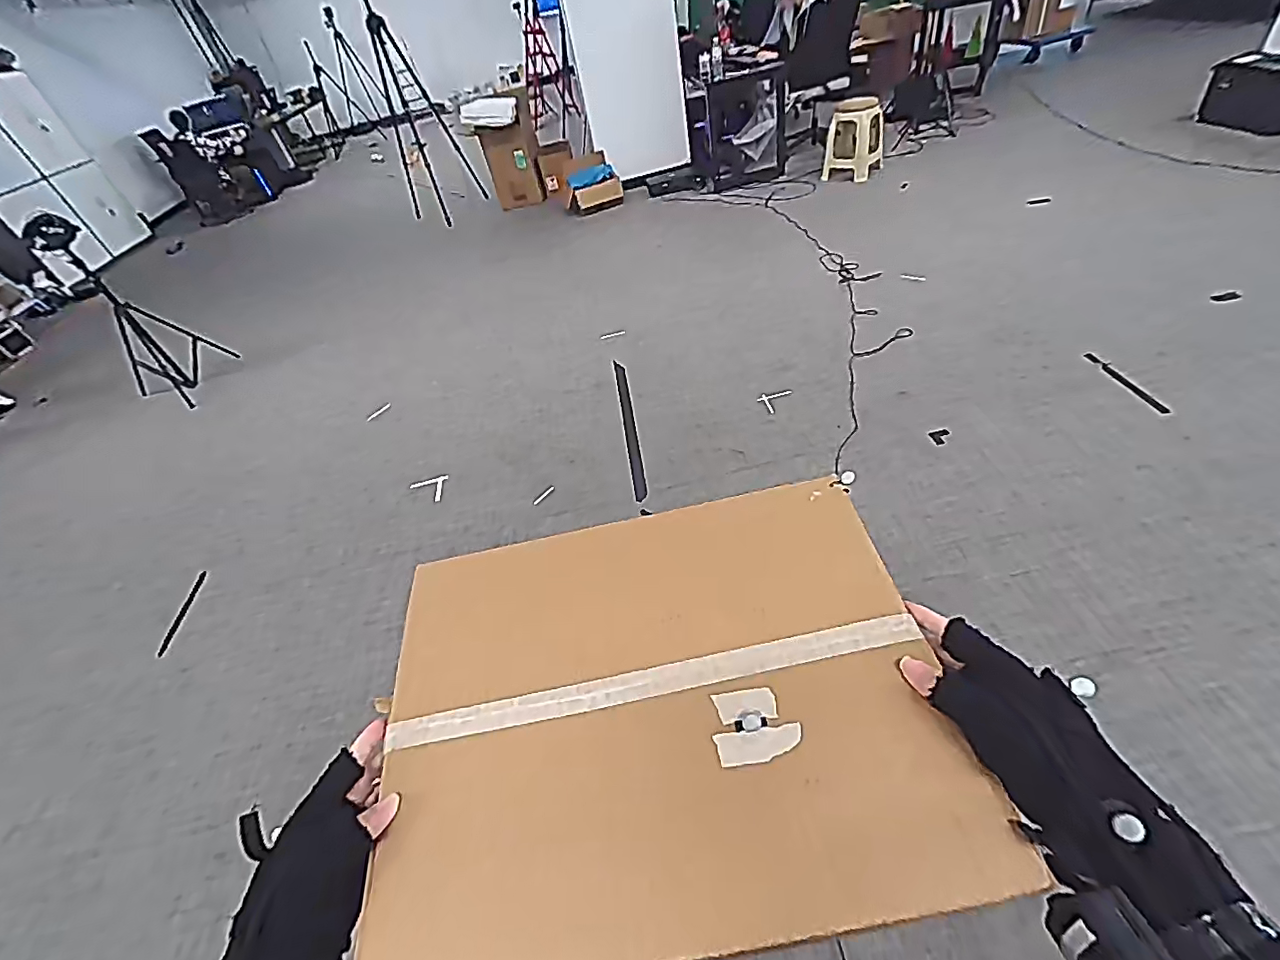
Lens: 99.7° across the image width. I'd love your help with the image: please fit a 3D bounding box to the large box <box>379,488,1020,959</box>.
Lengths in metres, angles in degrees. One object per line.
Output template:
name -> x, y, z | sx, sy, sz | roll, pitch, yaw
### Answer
large box -> 0.033, 0.257, 0.529 | 0.408, 0.320, 0.320 | -12, 49, 1
